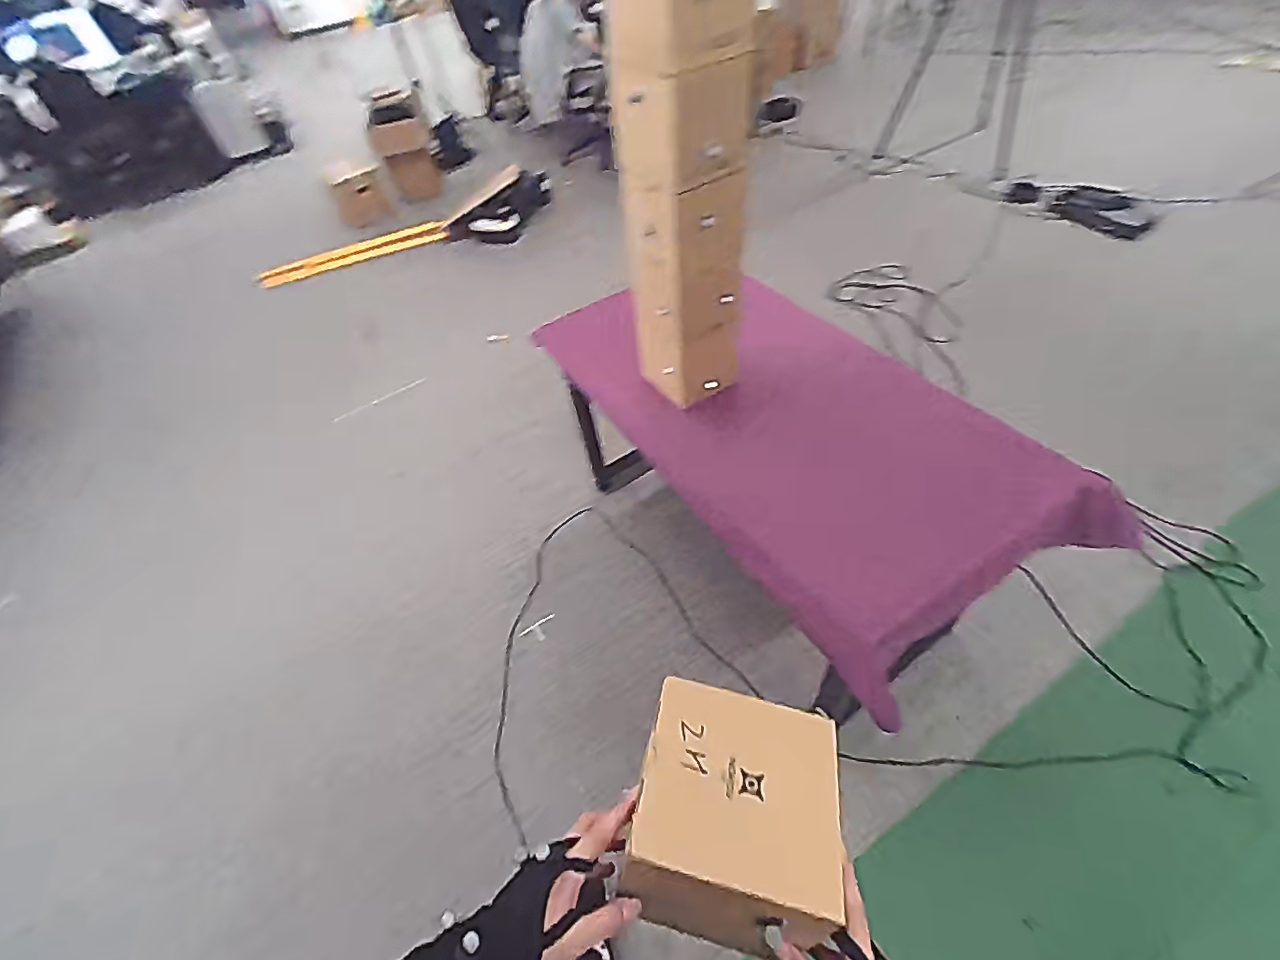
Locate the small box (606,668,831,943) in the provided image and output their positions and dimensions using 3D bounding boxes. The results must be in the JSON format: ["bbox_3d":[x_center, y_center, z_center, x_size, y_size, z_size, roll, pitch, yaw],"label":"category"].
[{"bbox_3d":[0.073,0.322,0.536,0.179,0.176,0.168,12,38,7],"label":"small box"}]

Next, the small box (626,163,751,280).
[{"bbox_3d":[0.097,-0.517,1.048,0.179,0.176,0.168,-30,53,-17],"label":"small box"}]

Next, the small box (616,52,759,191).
[{"bbox_3d":[0.078,-0.619,0.920,0.168,0.176,0.179,-30,54,-17],"label":"small box"}]

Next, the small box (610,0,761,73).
[{"bbox_3d":[0.067,-0.722,0.795,0.168,0.176,0.179,-30,53,-17],"label":"small box"}]

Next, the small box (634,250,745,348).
[{"bbox_3d":[0.109,-0.410,1.170,0.168,0.176,0.179,-29,52,-16],"label":"small box"}]
